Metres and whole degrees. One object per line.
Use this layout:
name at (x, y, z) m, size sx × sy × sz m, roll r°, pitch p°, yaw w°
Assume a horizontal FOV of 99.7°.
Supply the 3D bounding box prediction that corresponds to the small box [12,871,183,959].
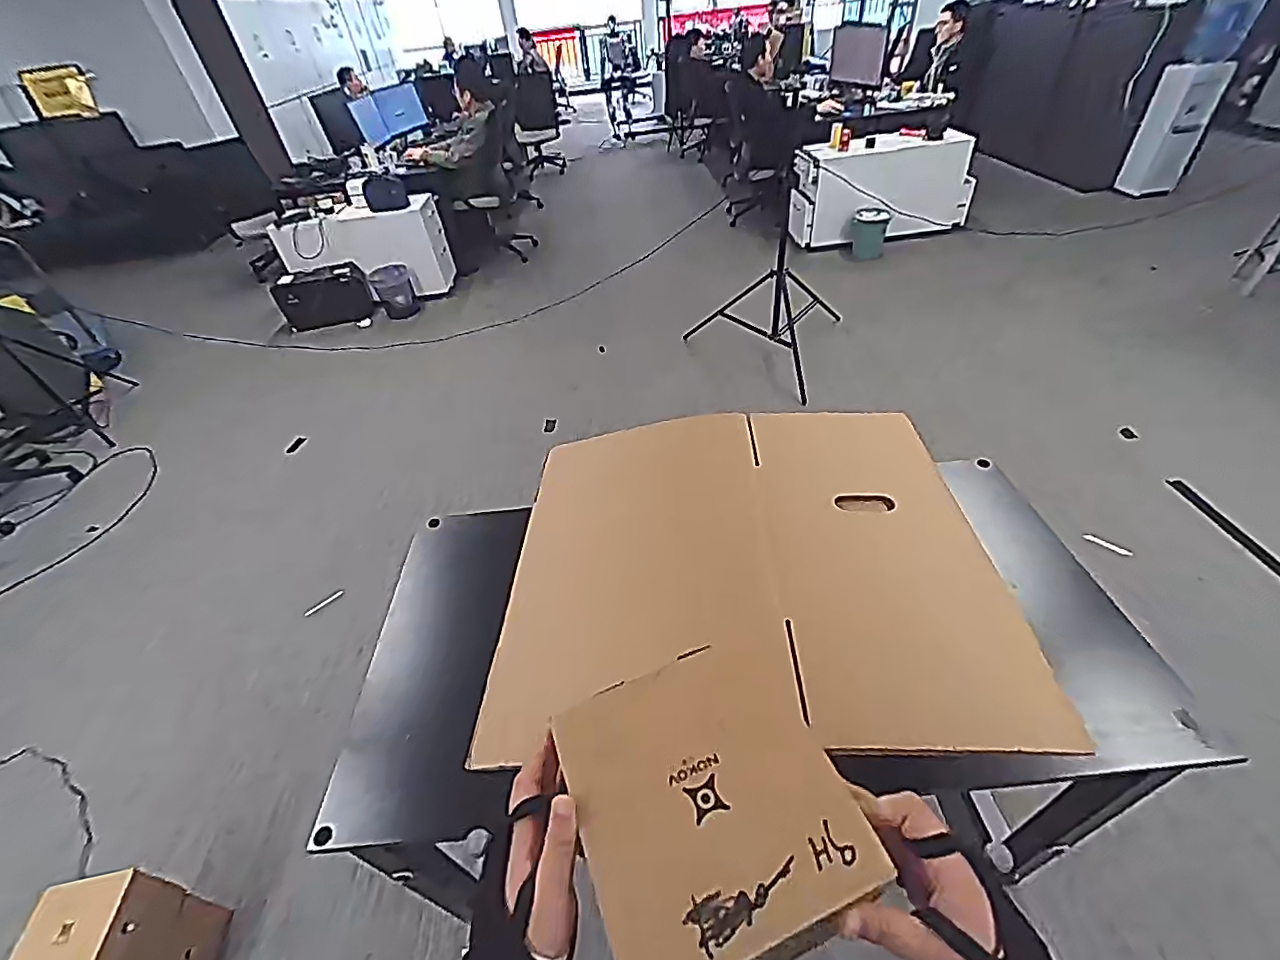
small box at (-1.056, 0.904, 1.055) m, size 0.168 × 0.176 × 0.179 m, roll -10°, pitch 41°, yaw -5°

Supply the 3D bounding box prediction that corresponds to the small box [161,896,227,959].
small box at (-1.038, 1.028, 1.159) m, size 0.168 × 0.176 × 0.179 m, roll -9°, pitch 42°, yaw -2°

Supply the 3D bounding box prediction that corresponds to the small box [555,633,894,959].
small box at (0.050, 0.255, 0.404) m, size 0.168 × 0.176 × 0.179 m, roll -20°, pitch 43°, yaw -10°
